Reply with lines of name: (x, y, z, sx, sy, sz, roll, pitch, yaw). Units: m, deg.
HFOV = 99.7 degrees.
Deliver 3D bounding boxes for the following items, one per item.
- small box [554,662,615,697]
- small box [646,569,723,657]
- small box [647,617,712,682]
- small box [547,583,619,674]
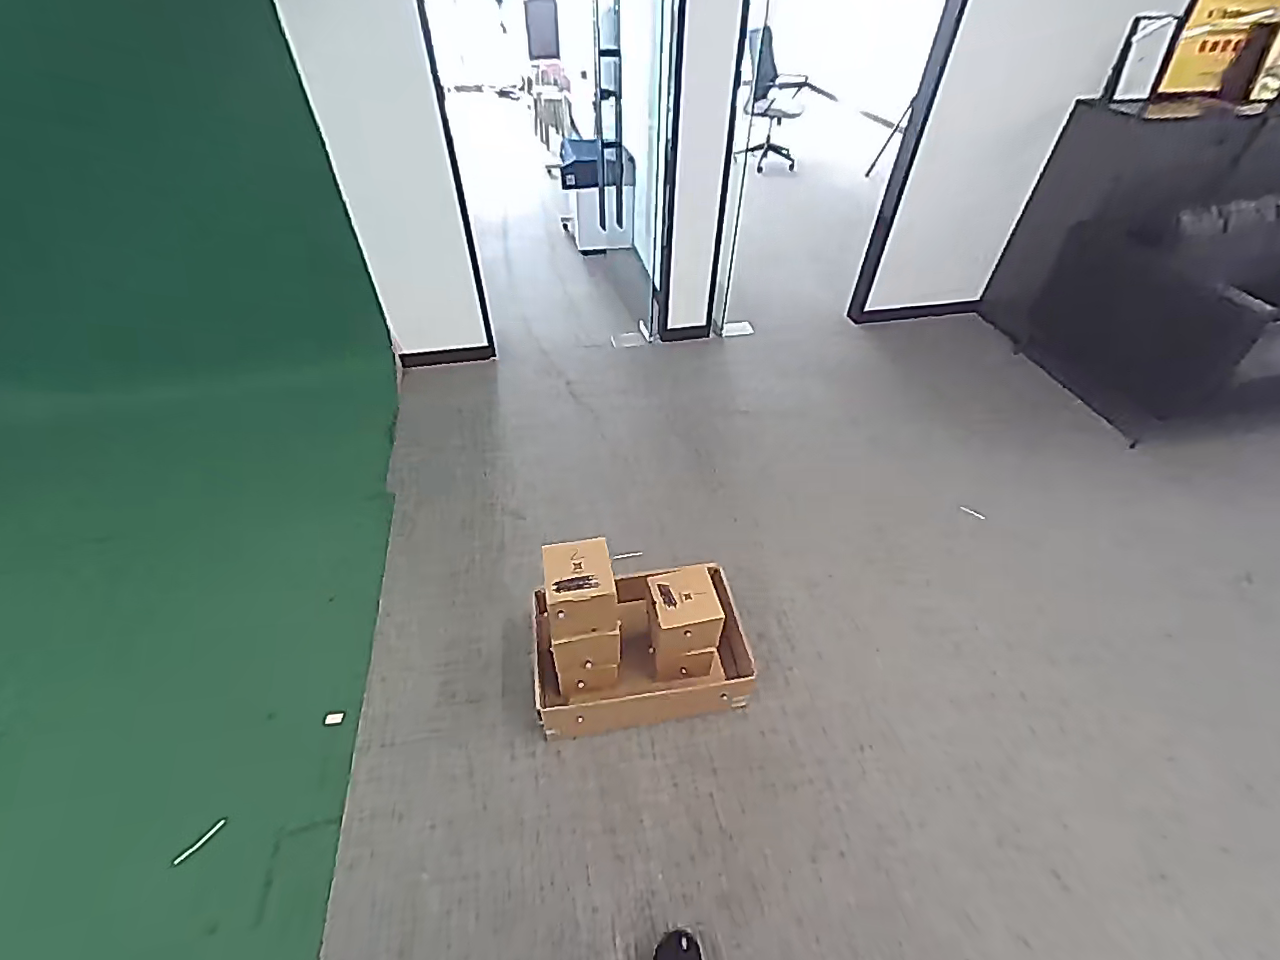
small box: (-0.165, 0.518, 1.584, 0.168, 0.176, 0.179, -5, 44, -8)
small box: (0.116, 0.373, 1.505, 0.179, 0.176, 0.168, -8, 47, -10)
small box: (0.113, 0.490, 1.624, 0.168, 0.176, 0.179, -6, 46, -6)
small box: (-0.157, 0.404, 1.467, 0.179, 0.176, 0.168, -6, 45, -9)
